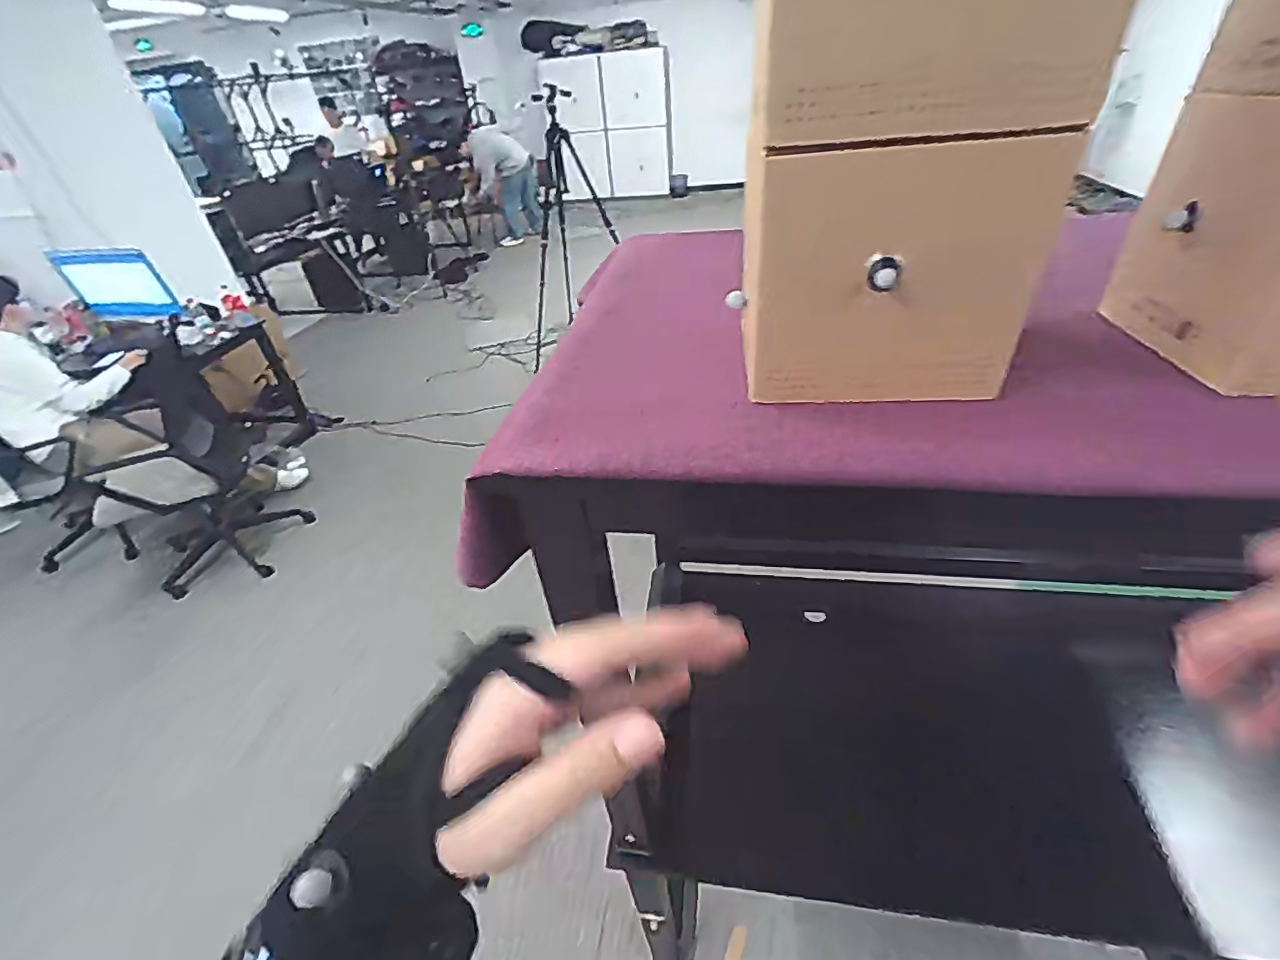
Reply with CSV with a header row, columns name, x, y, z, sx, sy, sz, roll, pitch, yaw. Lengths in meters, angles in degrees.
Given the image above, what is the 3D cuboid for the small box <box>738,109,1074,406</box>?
name,x,y,z,sx,sy,sz,roll,pitch,yaw
small box,0.167,-0.168,0.413,0.179,0.176,0.168,-1,37,9
